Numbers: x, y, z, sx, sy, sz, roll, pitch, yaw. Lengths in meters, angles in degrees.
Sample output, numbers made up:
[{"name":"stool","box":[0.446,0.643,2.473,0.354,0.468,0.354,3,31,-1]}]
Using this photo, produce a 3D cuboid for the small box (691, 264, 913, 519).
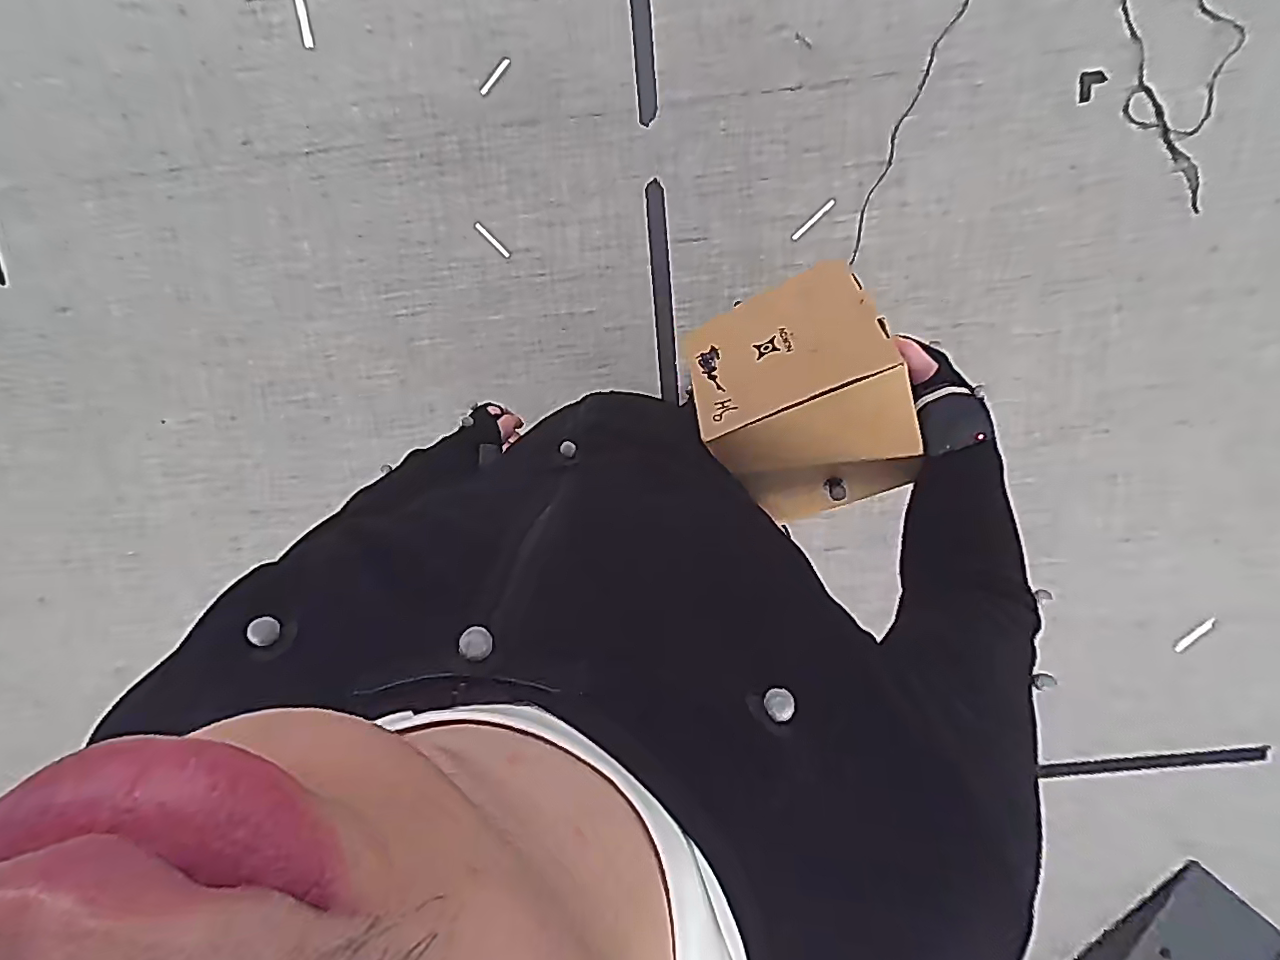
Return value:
[{"name":"small box","box":[0.174,-0.085,0.578,0.179,0.168,0.176,-21,137,20]}]
